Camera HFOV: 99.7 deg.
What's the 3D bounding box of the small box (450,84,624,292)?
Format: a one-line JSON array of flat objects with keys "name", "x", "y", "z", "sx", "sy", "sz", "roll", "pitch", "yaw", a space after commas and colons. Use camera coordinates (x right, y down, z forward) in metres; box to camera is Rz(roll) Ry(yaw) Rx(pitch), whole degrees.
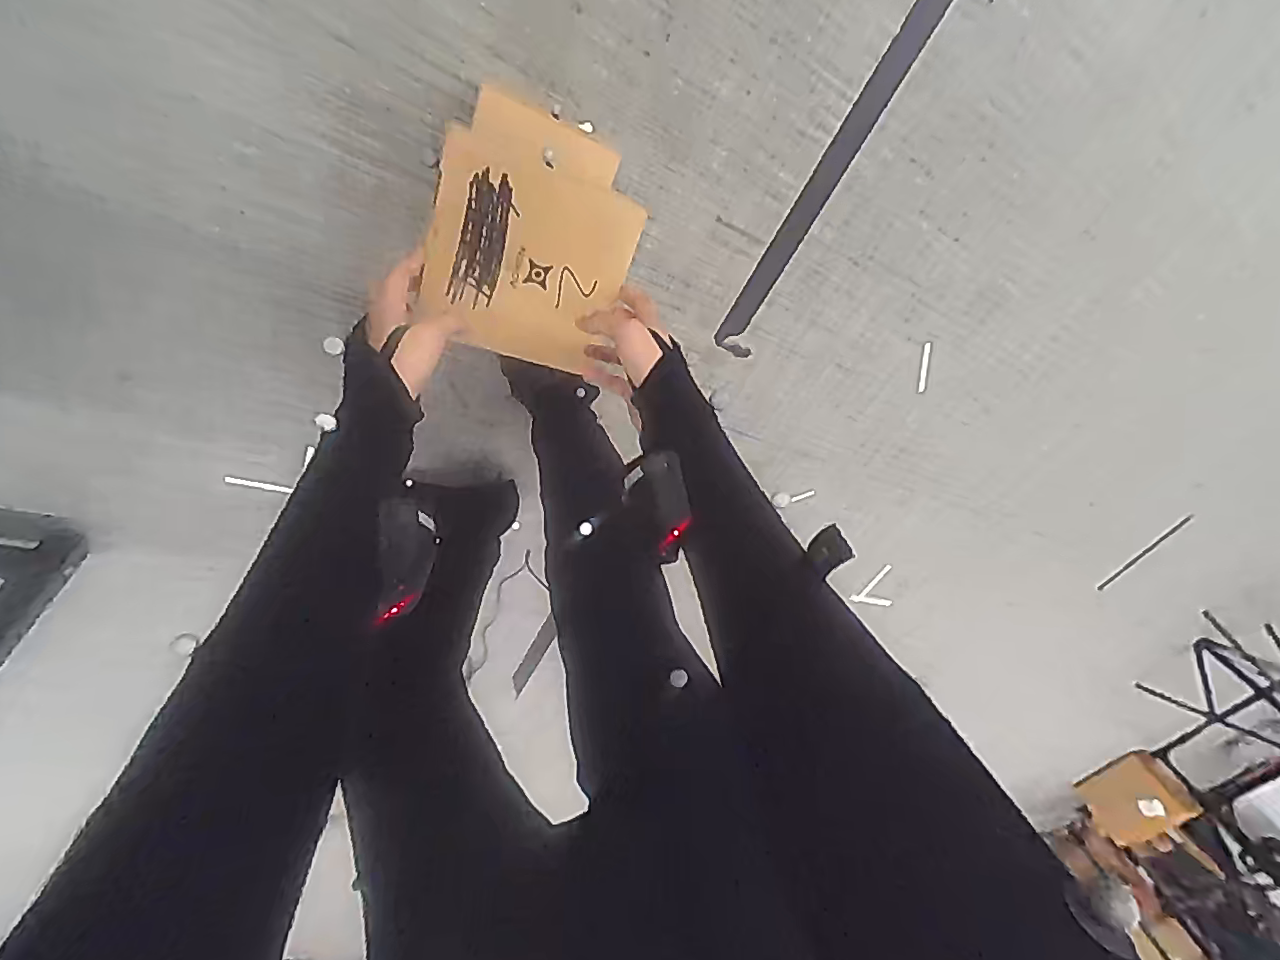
[{"name": "small box", "x": -0.141, "y": -0.381, "z": 0.702, "sx": 0.168, "sy": 0.176, "sz": 0.179, "roll": 13, "pitch": 123, "yaw": -24}]
